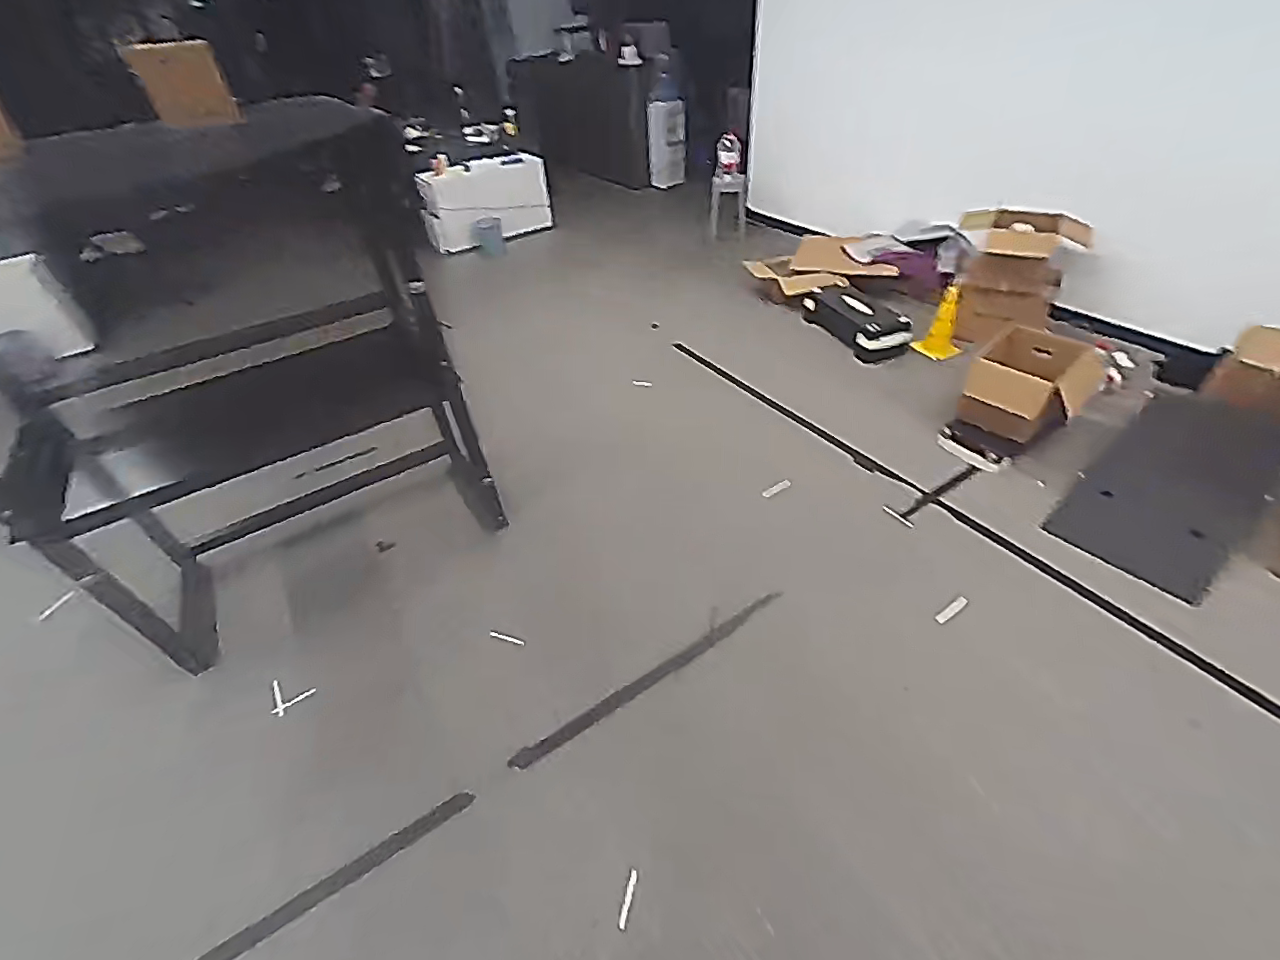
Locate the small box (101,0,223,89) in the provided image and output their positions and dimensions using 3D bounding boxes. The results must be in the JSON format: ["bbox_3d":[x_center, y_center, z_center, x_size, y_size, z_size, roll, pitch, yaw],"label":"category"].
[{"bbox_3d":[-1.173,-1.086,1.342,0.168,0.176,0.179,-26,46,-21],"label":"small box"}]
